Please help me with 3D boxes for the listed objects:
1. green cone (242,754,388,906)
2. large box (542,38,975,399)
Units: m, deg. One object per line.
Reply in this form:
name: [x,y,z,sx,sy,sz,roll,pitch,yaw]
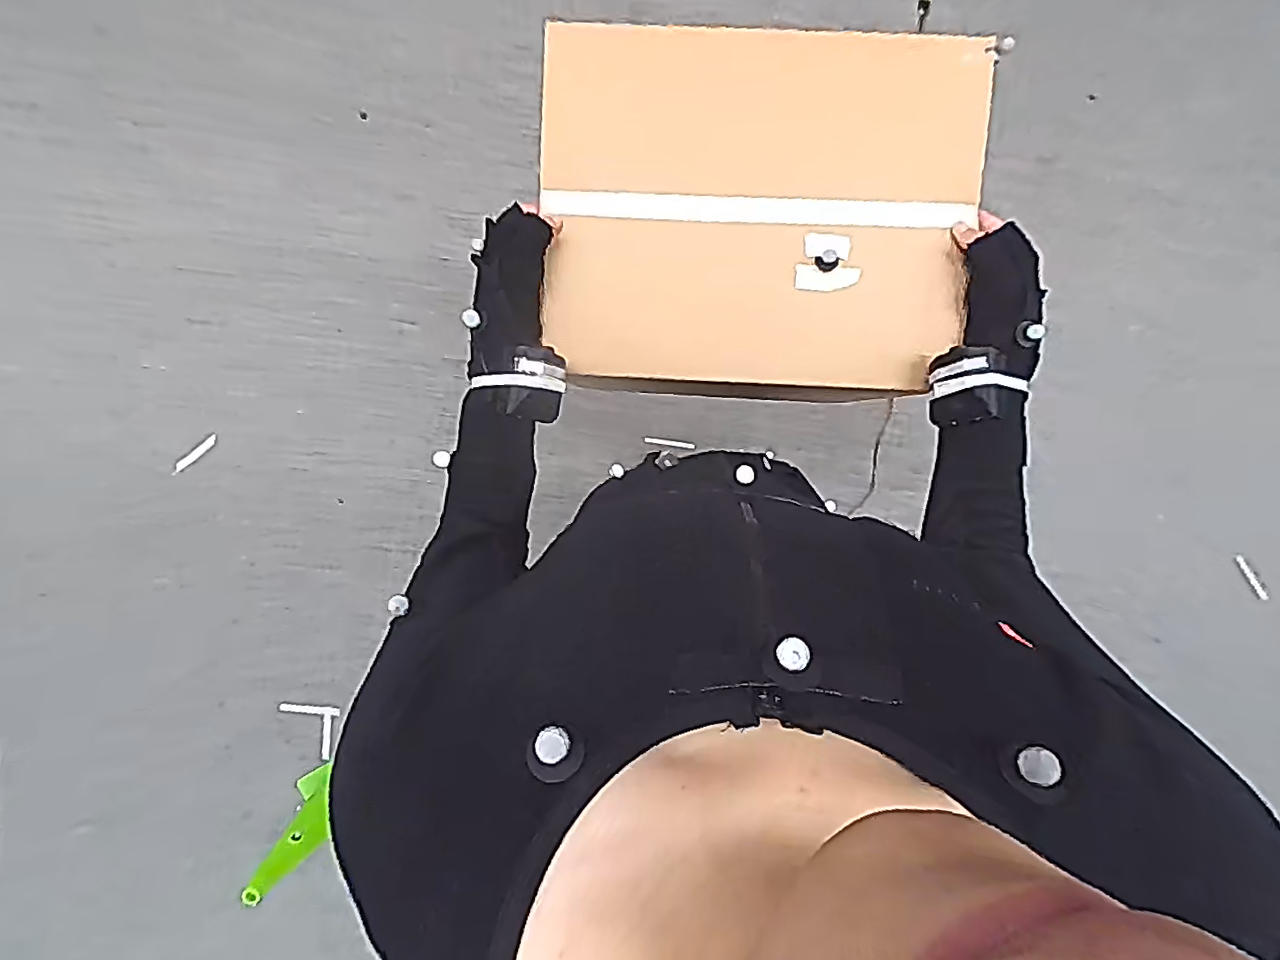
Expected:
green cone: [-0.860,0.920,1.388,0.202,0.368,0.200,-30,91,5]
large box: [0.107,-0.265,0.660,0.408,0.320,0.320,2,96,1]
